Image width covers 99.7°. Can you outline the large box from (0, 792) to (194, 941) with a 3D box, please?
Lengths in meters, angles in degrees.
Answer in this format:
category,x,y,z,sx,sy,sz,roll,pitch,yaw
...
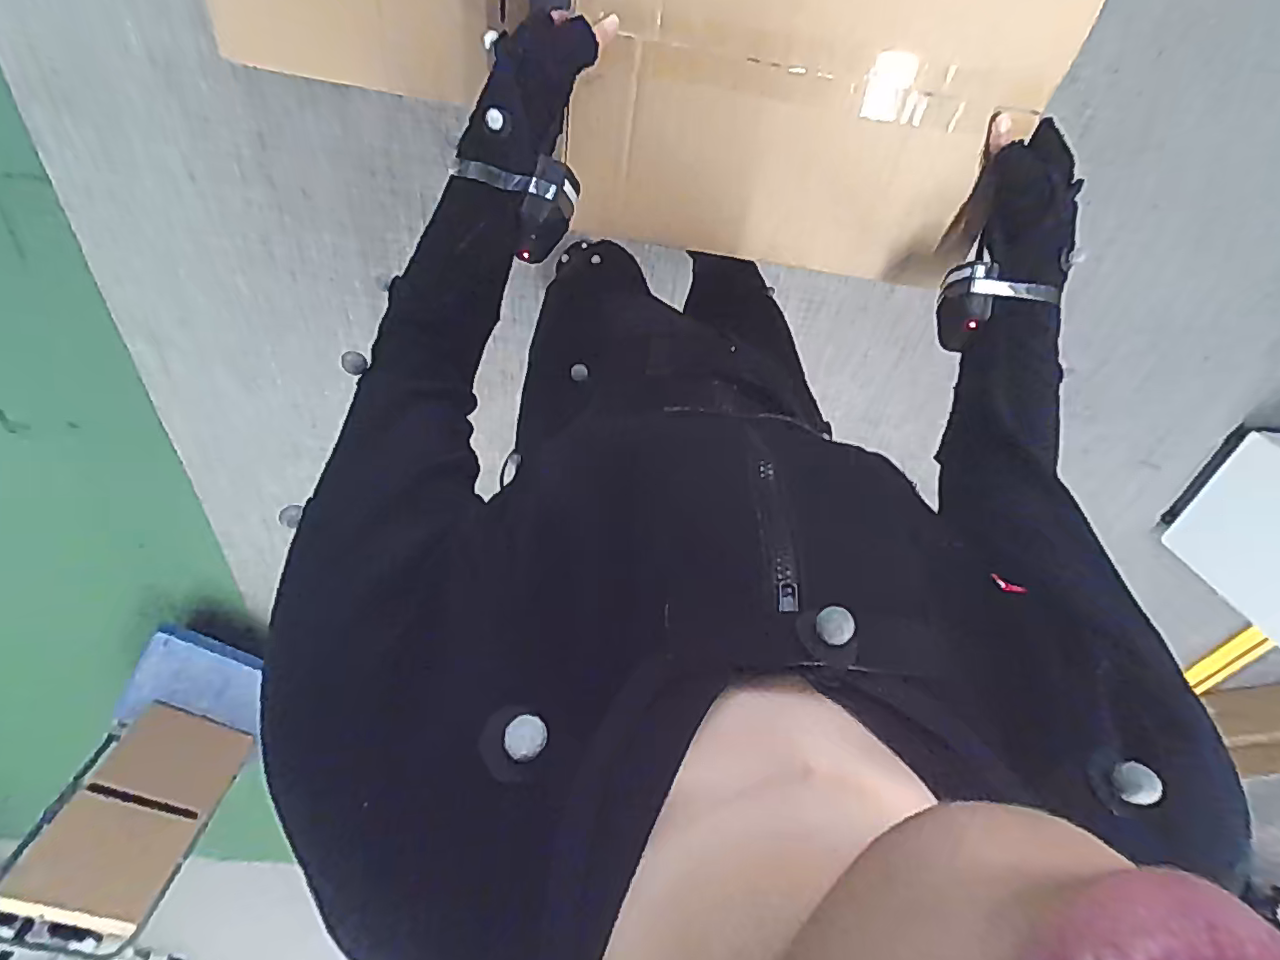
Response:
category,x,y,z,sx,sy,sz,roll,pitch,yaw
large box,-1.873,1.340,1.866,0.408,0.320,0.320,35,125,-20
